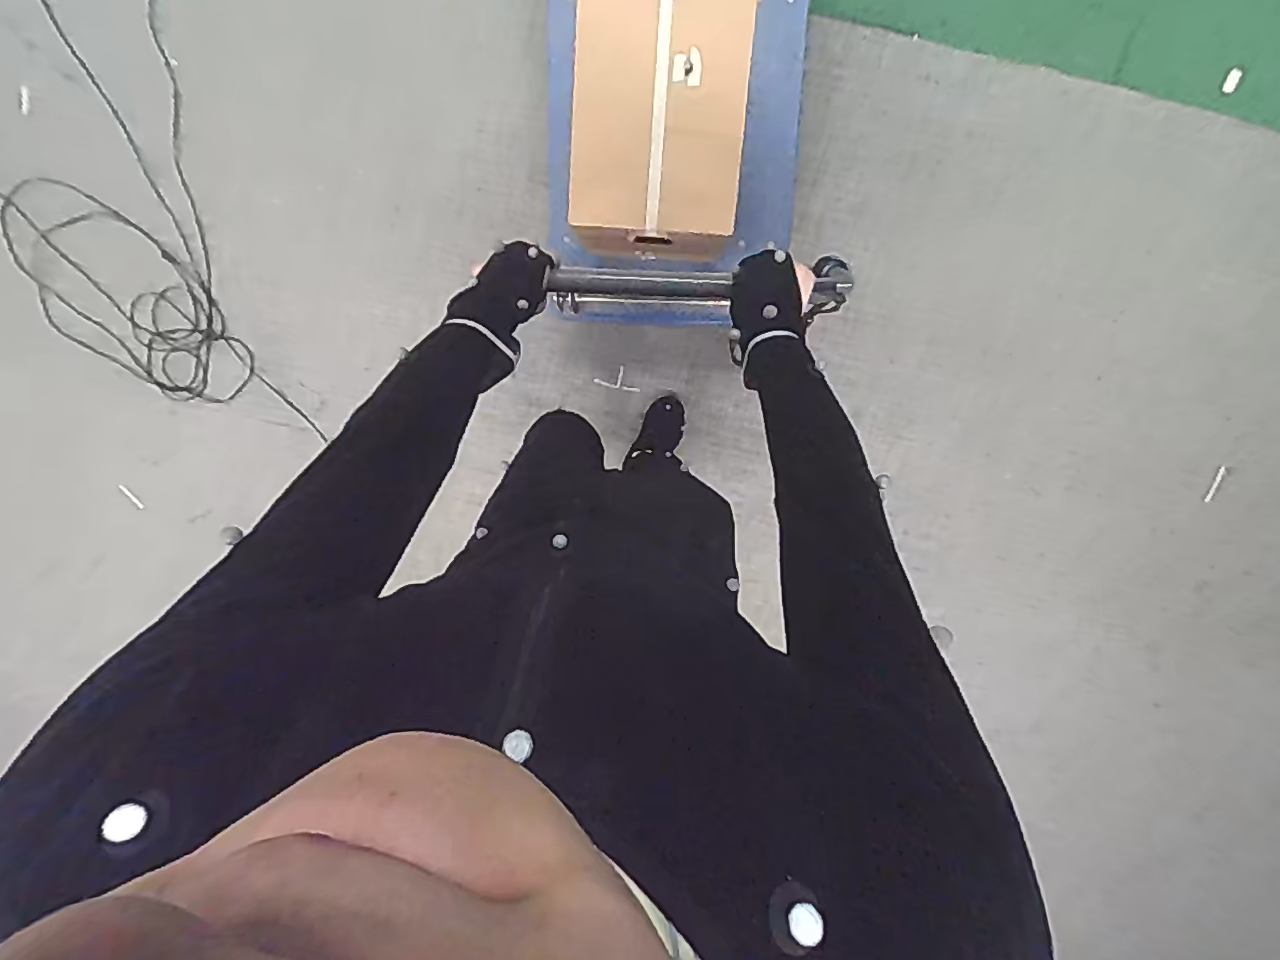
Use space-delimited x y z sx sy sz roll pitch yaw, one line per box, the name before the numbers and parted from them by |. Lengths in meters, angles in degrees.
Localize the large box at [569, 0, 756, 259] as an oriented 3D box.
large box | 0.042 -0.693 1.103 0.320 0.320 0.408 5 103 1
